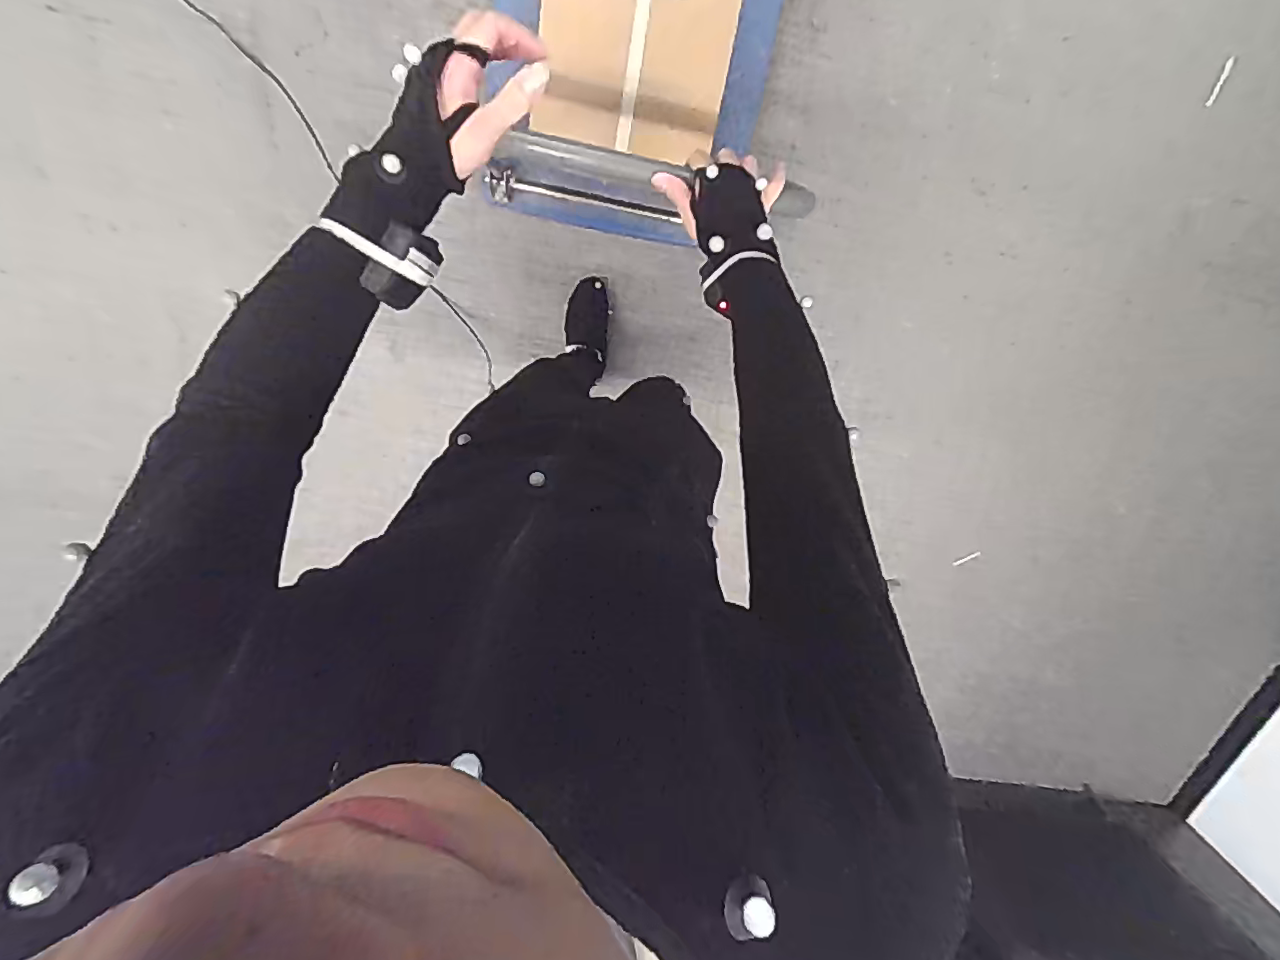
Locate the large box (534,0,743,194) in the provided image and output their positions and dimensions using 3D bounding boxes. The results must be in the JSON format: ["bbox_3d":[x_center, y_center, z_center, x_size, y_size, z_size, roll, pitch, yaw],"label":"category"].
[{"bbox_3d":[-0.003,-0.793,0.998,0.320,0.320,0.408,9,111,-7],"label":"large box"}]
